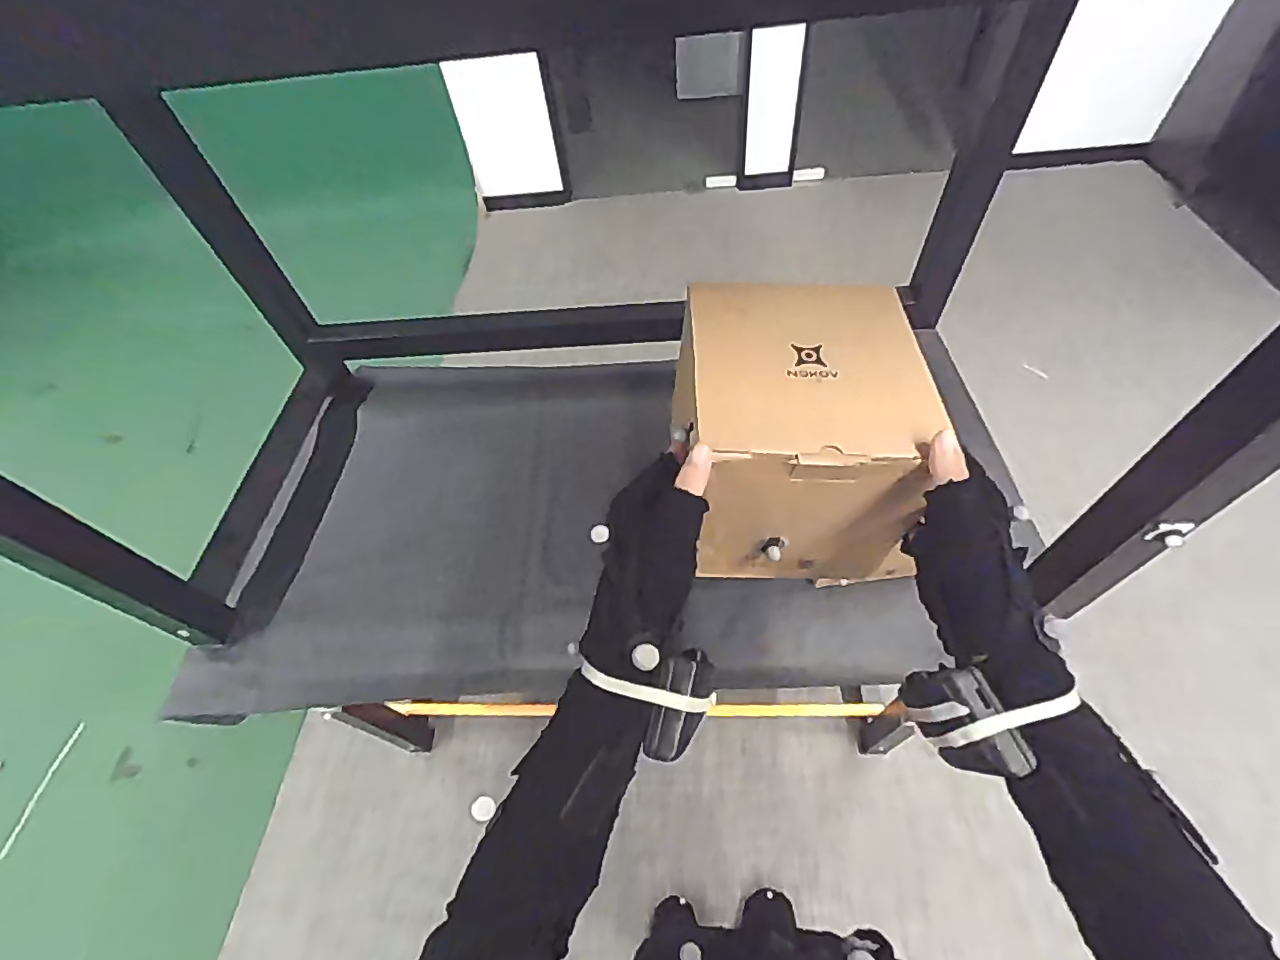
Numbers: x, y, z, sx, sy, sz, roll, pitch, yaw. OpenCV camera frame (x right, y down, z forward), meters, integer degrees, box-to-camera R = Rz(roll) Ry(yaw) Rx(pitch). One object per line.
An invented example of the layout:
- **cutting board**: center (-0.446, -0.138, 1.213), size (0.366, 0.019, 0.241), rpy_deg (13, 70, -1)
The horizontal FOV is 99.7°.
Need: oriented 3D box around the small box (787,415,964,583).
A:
- **small box**: center (0.317, 0.035, 0.772), size (0.168, 0.176, 0.179), rpy_deg (-7, 51, 2)
